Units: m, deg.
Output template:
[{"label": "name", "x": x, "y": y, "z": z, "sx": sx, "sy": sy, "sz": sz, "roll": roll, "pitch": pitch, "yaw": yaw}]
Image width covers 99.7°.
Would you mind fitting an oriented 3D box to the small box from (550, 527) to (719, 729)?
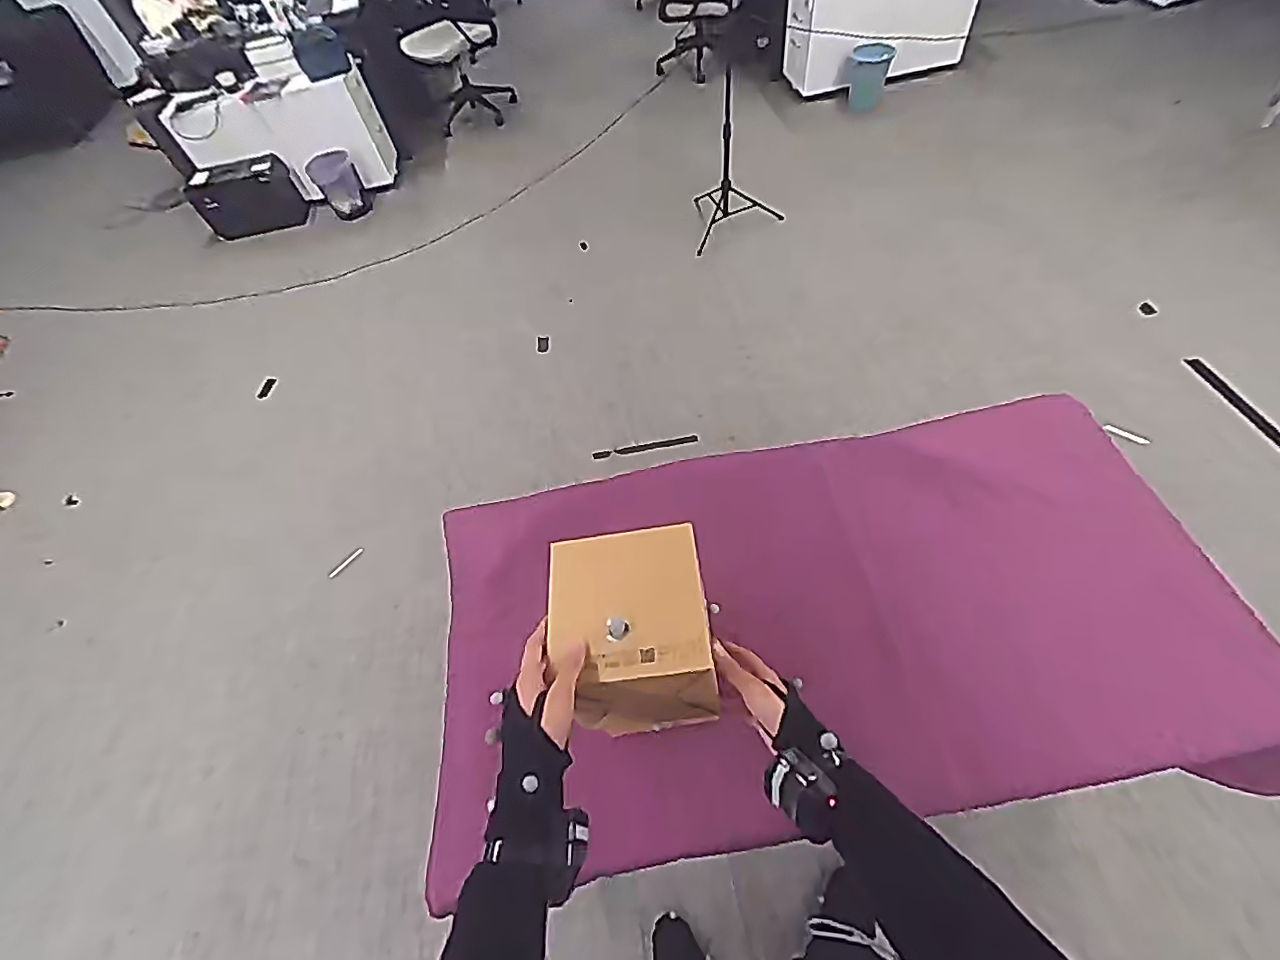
[{"label": "small box", "x": -0.004, "y": 0.179, "z": 0.630, "sx": 0.168, "sy": 0.179, "sz": 0.176, "roll": -9, "pitch": 53, "yaw": 5}]
